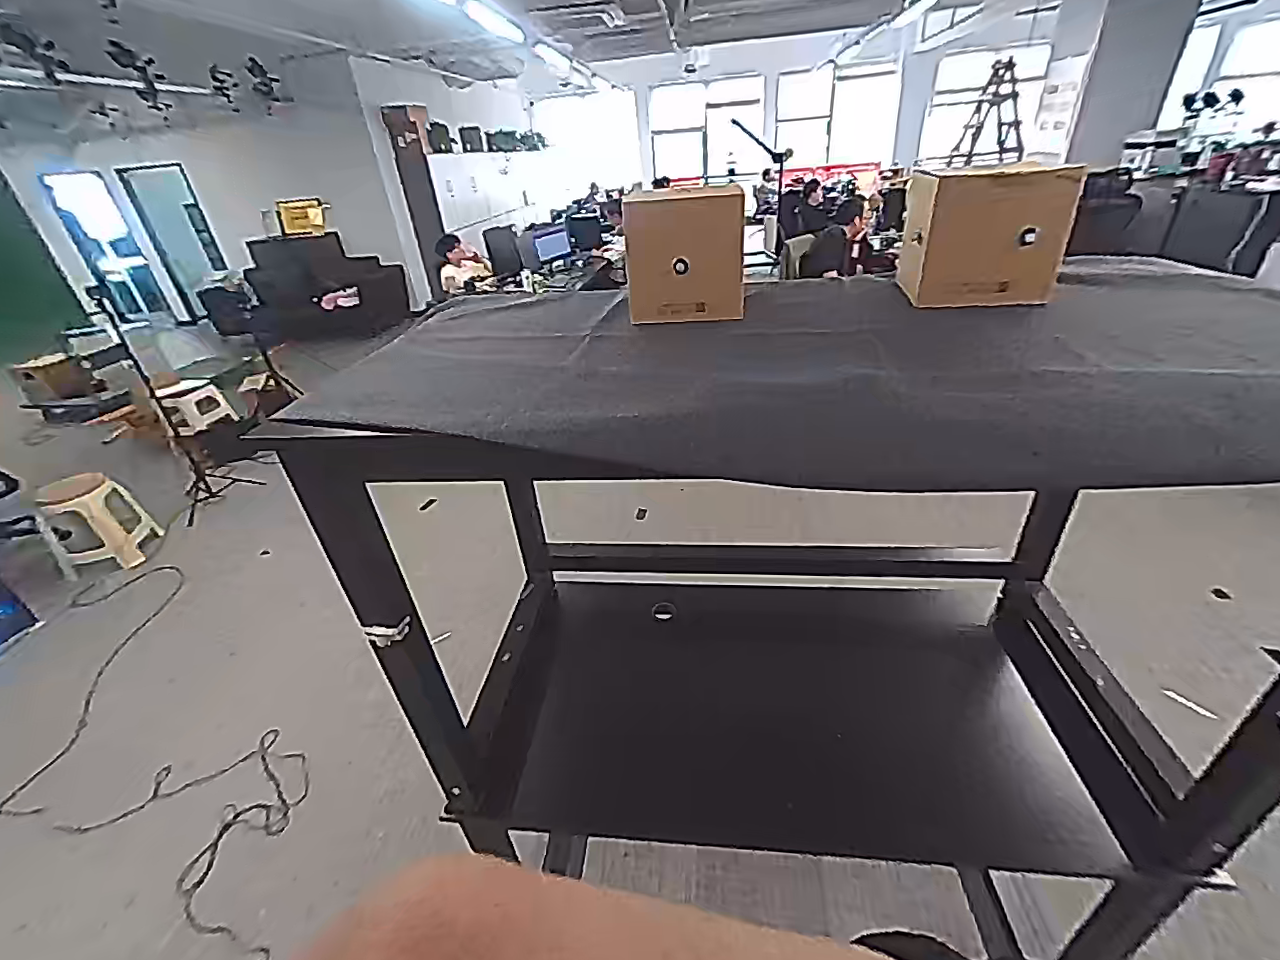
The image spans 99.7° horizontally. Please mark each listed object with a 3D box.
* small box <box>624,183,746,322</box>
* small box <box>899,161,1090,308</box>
[{"bbox_3d":[0.074,-0.343,0.820,0.168,0.176,0.179,0,32,7],"label":"small box"},{"bbox_3d":[0.484,-0.349,0.772,0.168,0.176,0.179,3,32,12],"label":"small box"}]
